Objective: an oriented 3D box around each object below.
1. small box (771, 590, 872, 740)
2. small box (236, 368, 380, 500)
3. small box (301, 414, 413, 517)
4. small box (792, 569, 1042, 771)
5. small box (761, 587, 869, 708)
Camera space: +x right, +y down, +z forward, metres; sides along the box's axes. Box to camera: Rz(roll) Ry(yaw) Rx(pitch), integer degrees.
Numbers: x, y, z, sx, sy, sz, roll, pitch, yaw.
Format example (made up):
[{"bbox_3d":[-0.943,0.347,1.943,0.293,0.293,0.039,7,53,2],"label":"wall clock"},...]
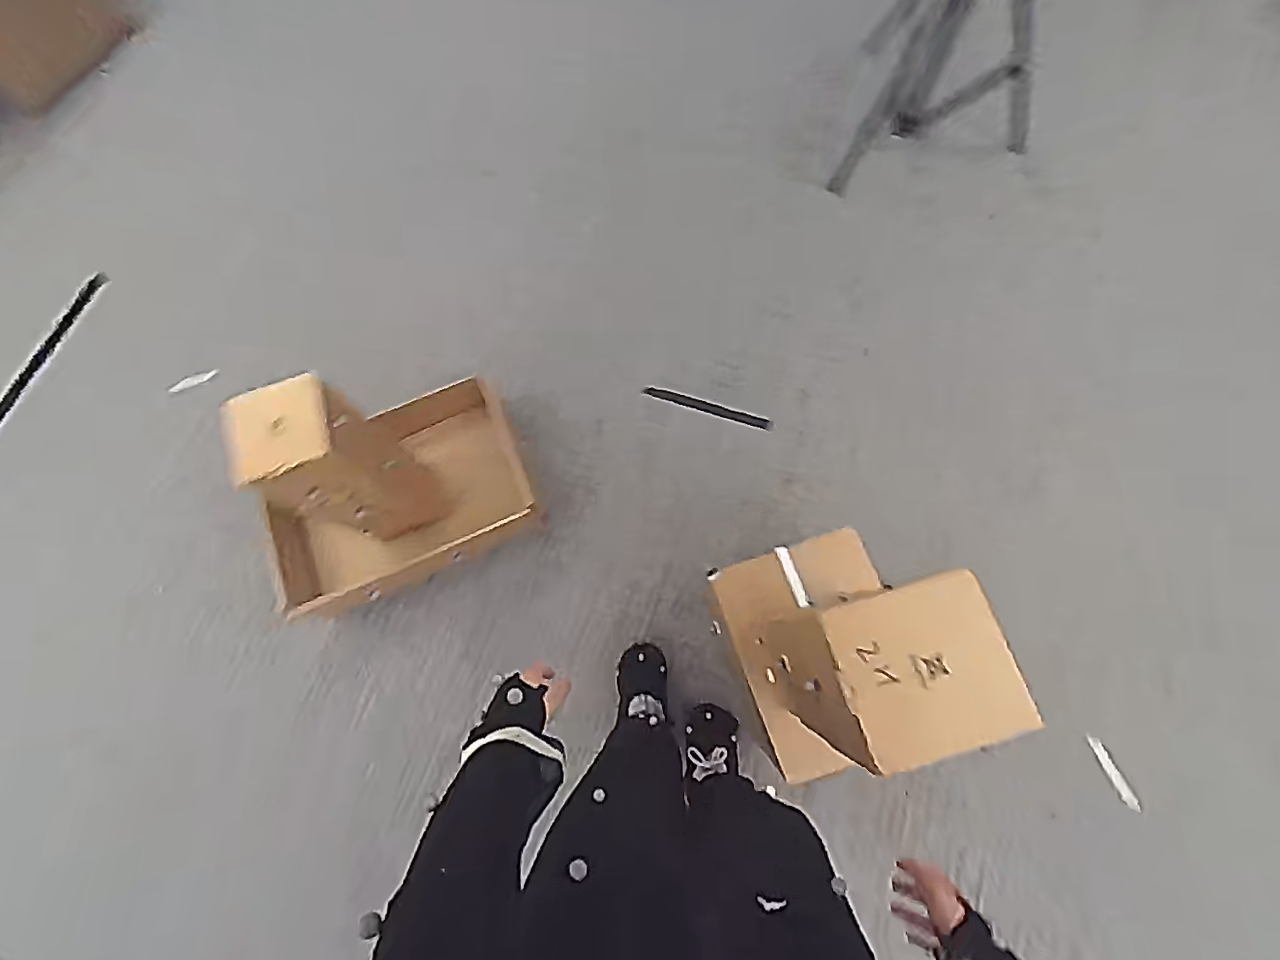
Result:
[{"bbox_3d":[0.310,0.258,0.790,0.179,0.176,0.168,-15,73,0],"label":"small box"},{"bbox_3d":[-0.634,-0.082,1.046,0.168,0.176,0.179,-19,73,-3],"label":"small box"},{"bbox_3d":[-0.628,-0.026,1.199,0.168,0.176,0.179,-18,74,-3],"label":"small box"},{"bbox_3d":[0.300,0.212,0.631,0.179,0.176,0.168,-16,73,-1],"label":"small box"},{"bbox_3d":[0.323,0.298,0.947,0.179,0.176,0.168,-17,74,-3],"label":"small box"}]
